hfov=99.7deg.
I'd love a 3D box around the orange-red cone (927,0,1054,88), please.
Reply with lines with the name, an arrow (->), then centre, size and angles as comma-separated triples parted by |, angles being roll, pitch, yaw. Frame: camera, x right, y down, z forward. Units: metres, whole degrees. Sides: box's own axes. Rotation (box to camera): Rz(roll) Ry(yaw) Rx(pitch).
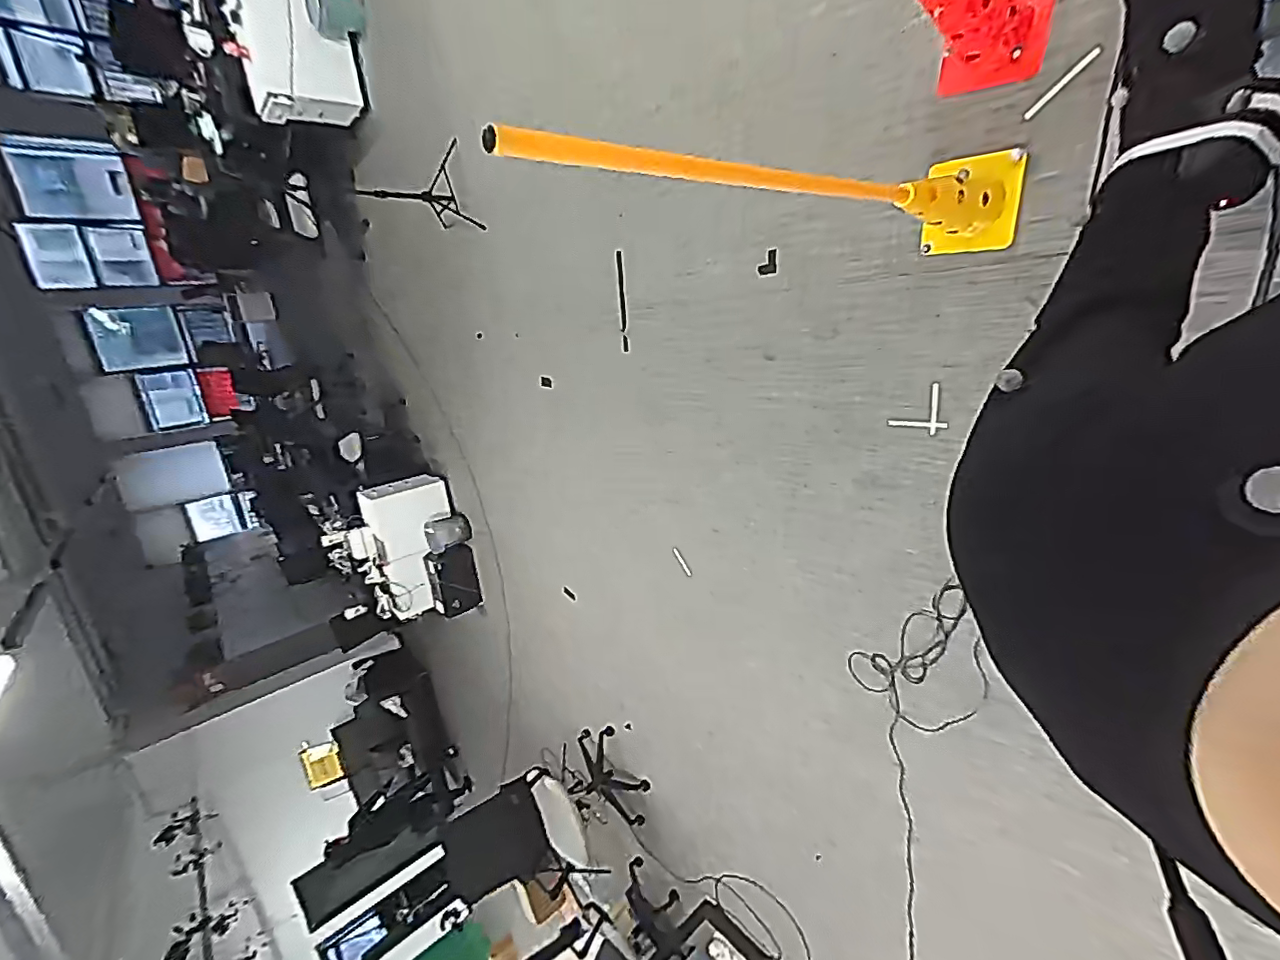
orange-red cone -> 0.615, -0.903, 1.020 | 0.198, 0.360, 0.199 | 23, 121, 43
